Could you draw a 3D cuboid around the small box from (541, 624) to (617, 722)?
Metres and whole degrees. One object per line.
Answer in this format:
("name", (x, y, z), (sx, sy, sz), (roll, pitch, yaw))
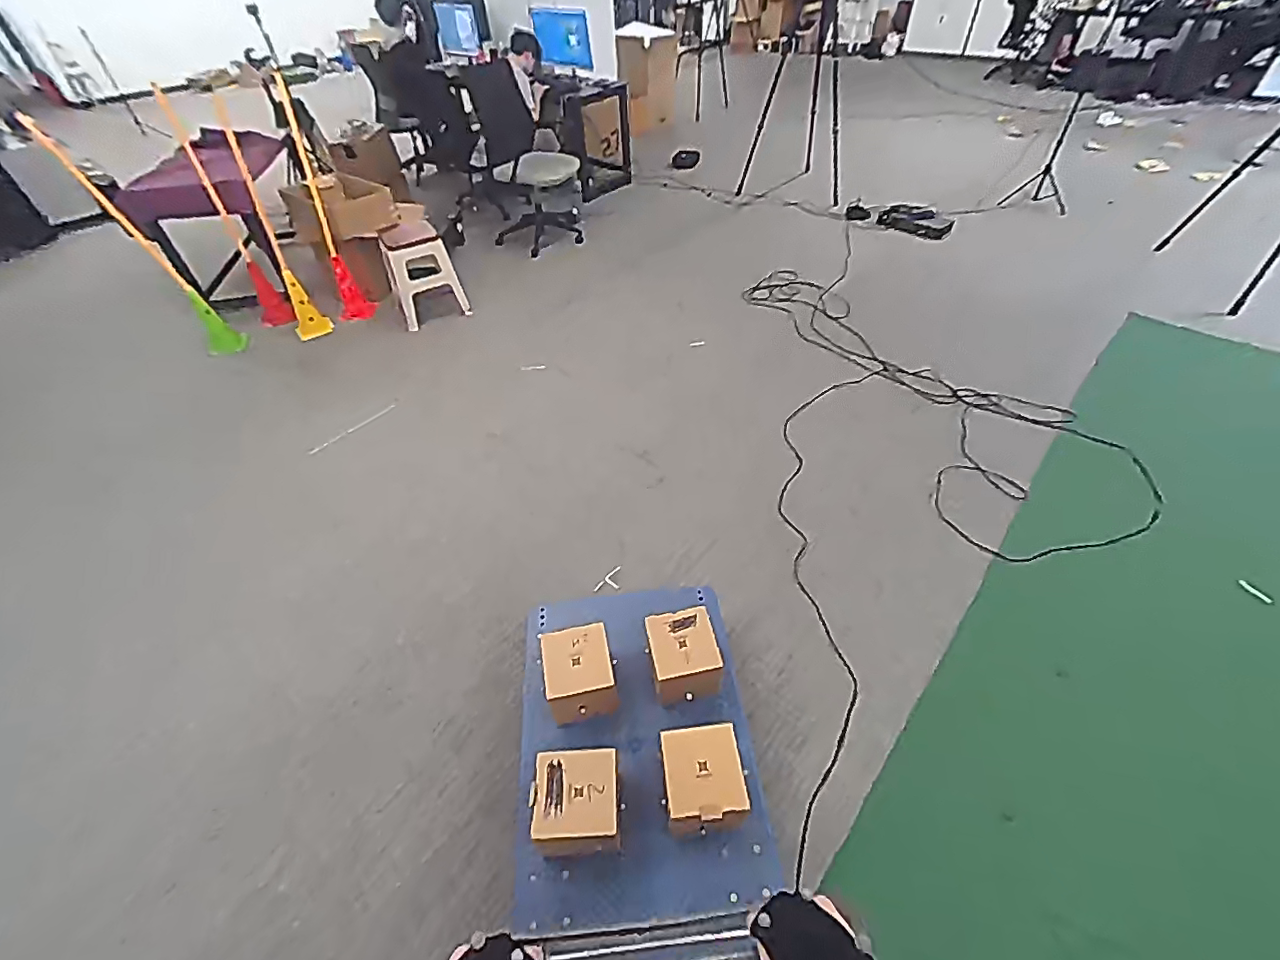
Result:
("small box", (-0.156, 0.502, 1.391), (0.168, 0.176, 0.179), (-9, 46, -7))

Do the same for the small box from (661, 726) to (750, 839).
("small box", (0.137, 0.678, 1.210), (0.168, 0.176, 0.179), (-5, 47, -3))

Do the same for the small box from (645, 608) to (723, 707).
("small box", (0.109, 0.465, 1.415), (0.168, 0.176, 0.179), (-10, 47, -6))
